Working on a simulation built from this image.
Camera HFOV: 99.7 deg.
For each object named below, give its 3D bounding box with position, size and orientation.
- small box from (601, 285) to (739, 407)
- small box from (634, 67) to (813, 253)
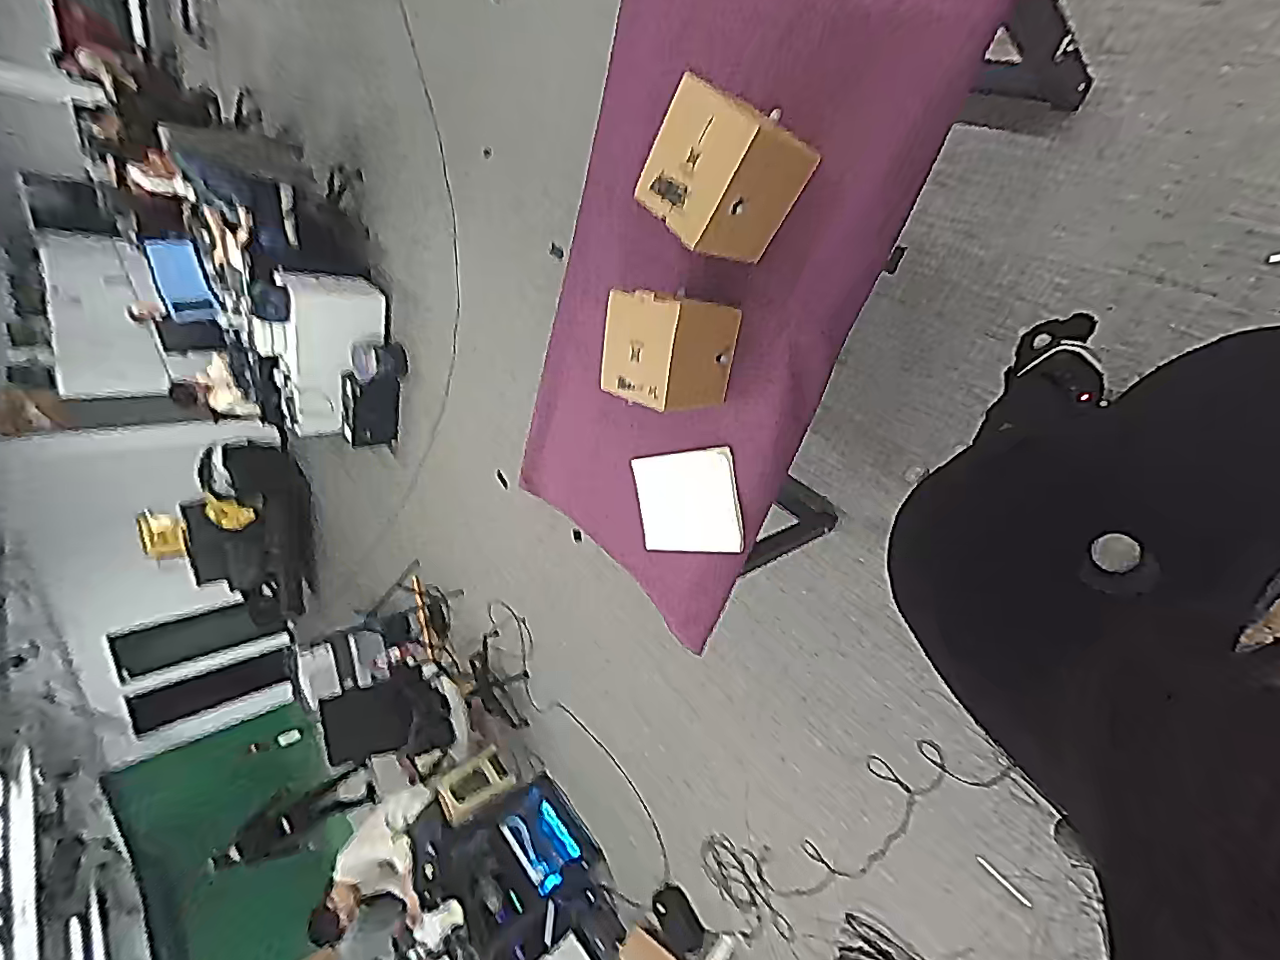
[{"bbox_3d":[0.054,-0.239,0.961,0.168,0.176,0.179,27,118,40],"label":"small box"},{"bbox_3d":[0.126,-0.471,0.823,0.168,0.176,0.179,53,132,25],"label":"small box"}]
